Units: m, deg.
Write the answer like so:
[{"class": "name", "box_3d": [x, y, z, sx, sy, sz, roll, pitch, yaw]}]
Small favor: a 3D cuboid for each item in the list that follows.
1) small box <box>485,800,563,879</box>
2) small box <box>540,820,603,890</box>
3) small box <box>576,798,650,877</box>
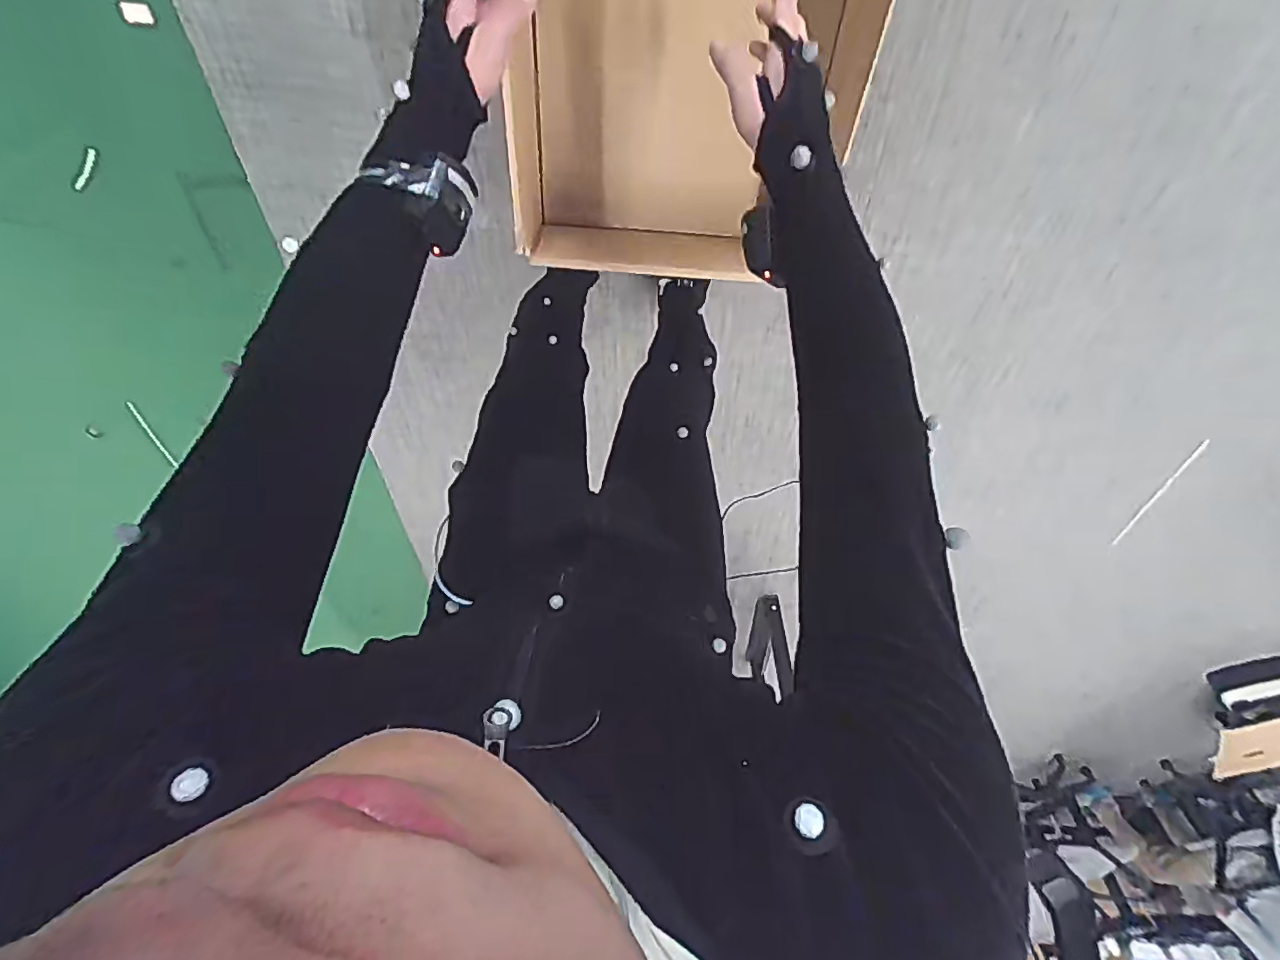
[{"class": "small box", "box_3d": [-0.364, 1.151, 1.731, 0.179, 0.176, 0.168, -26, 129, 22]}, {"class": "small box", "box_3d": [-0.230, 1.288, 1.864, 0.168, 0.176, 0.179, -11, 132, 11]}, {"class": "small box", "box_3d": [-0.085, 1.115, 1.688, 0.168, 0.176, 0.179, 26, 129, -22]}]
